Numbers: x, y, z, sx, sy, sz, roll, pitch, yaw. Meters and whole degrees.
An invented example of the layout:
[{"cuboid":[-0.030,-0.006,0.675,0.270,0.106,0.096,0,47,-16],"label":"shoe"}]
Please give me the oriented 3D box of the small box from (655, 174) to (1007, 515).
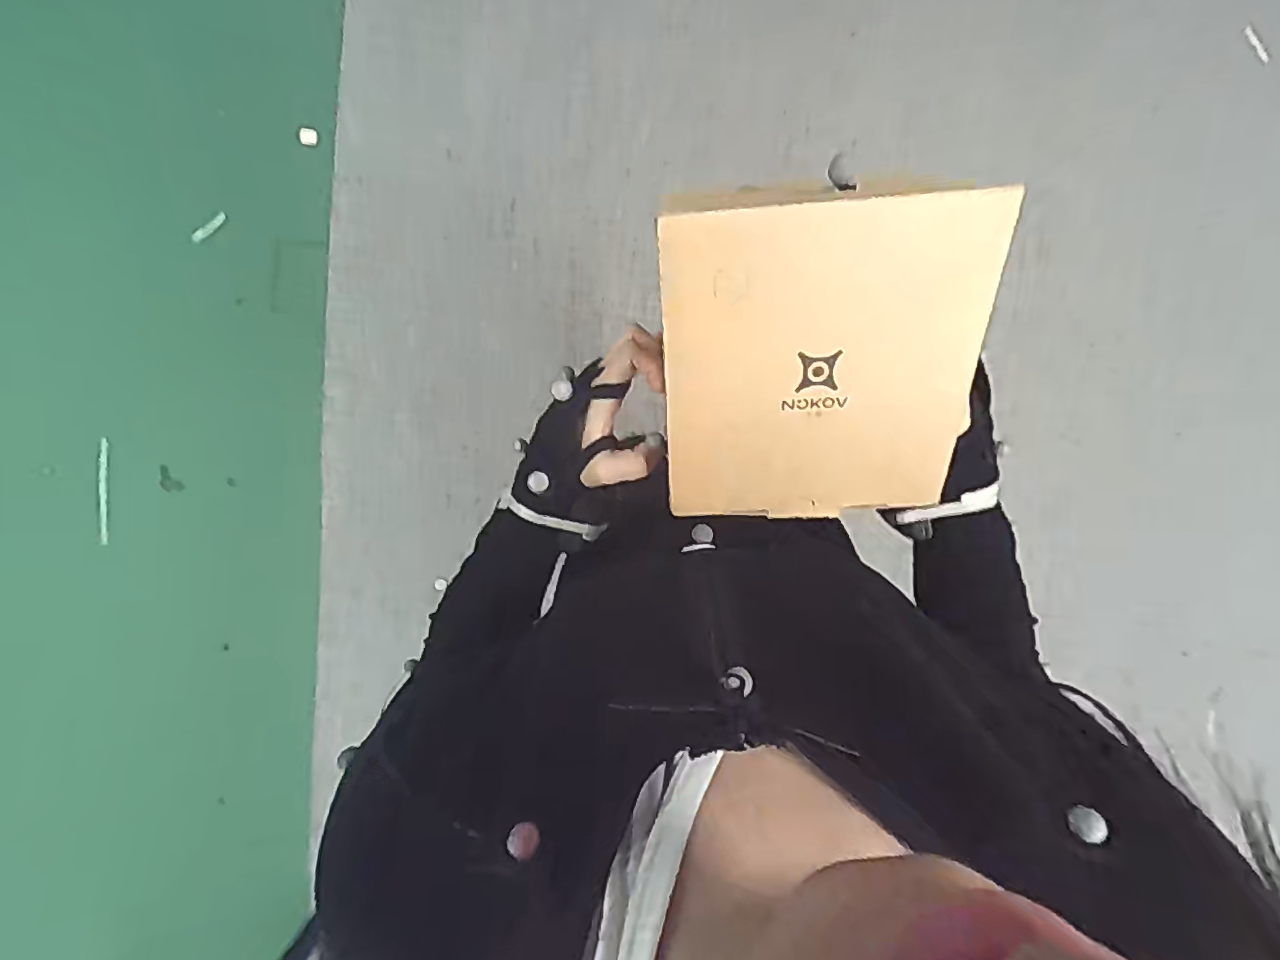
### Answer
[{"cuboid":[0.097,-0.098,0.364,0.168,0.176,0.179,-3,125,4],"label":"small box"}]
